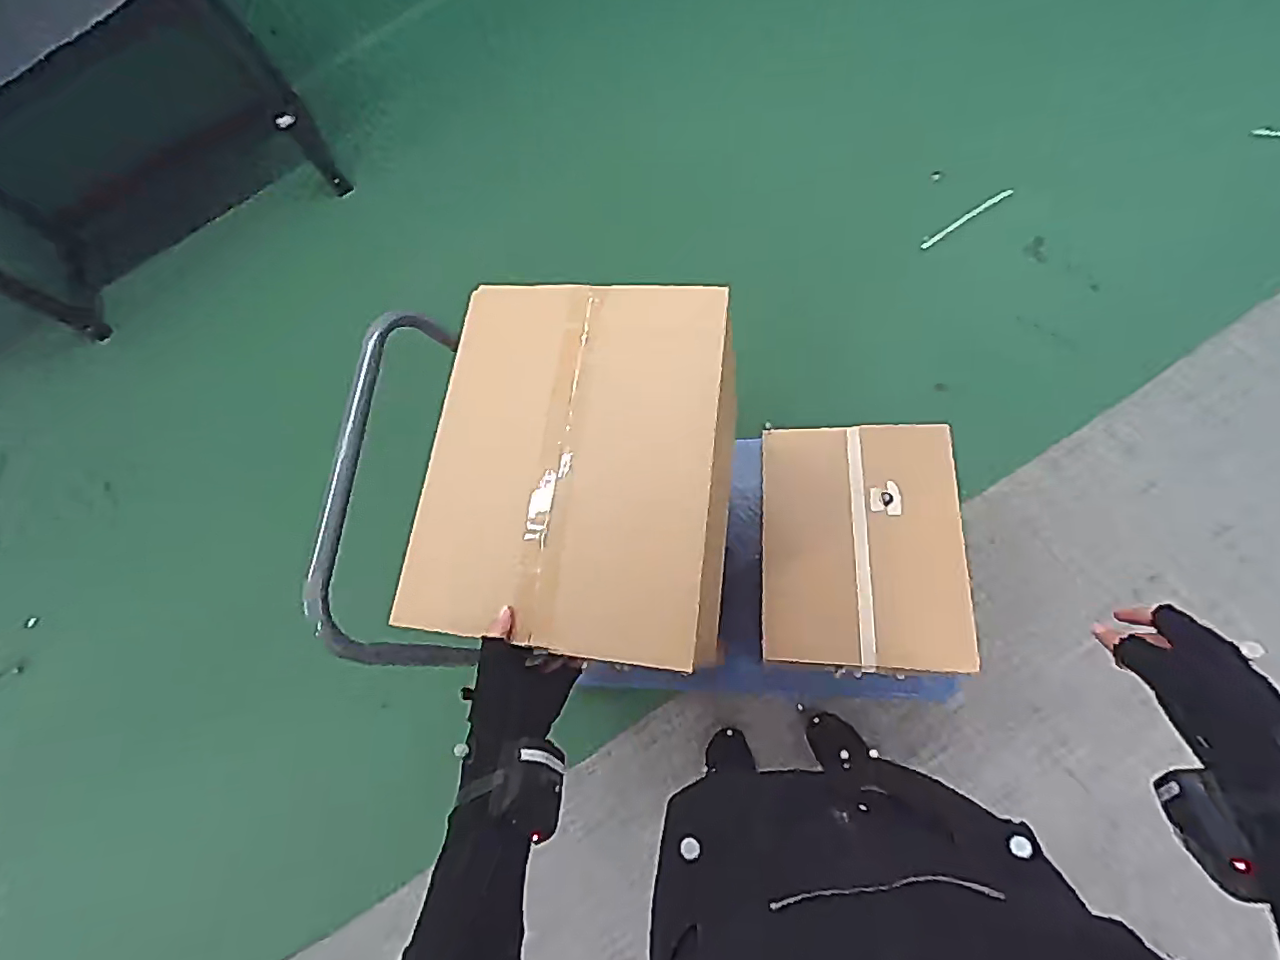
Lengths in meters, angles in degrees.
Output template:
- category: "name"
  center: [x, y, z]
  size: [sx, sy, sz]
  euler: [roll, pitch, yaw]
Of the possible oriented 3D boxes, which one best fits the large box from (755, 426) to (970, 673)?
- category: "large box"
  center: [0.387, 0.148, 1.032]
  size: [0.320, 0.320, 0.408]
  euler: [0, 70, 14]
